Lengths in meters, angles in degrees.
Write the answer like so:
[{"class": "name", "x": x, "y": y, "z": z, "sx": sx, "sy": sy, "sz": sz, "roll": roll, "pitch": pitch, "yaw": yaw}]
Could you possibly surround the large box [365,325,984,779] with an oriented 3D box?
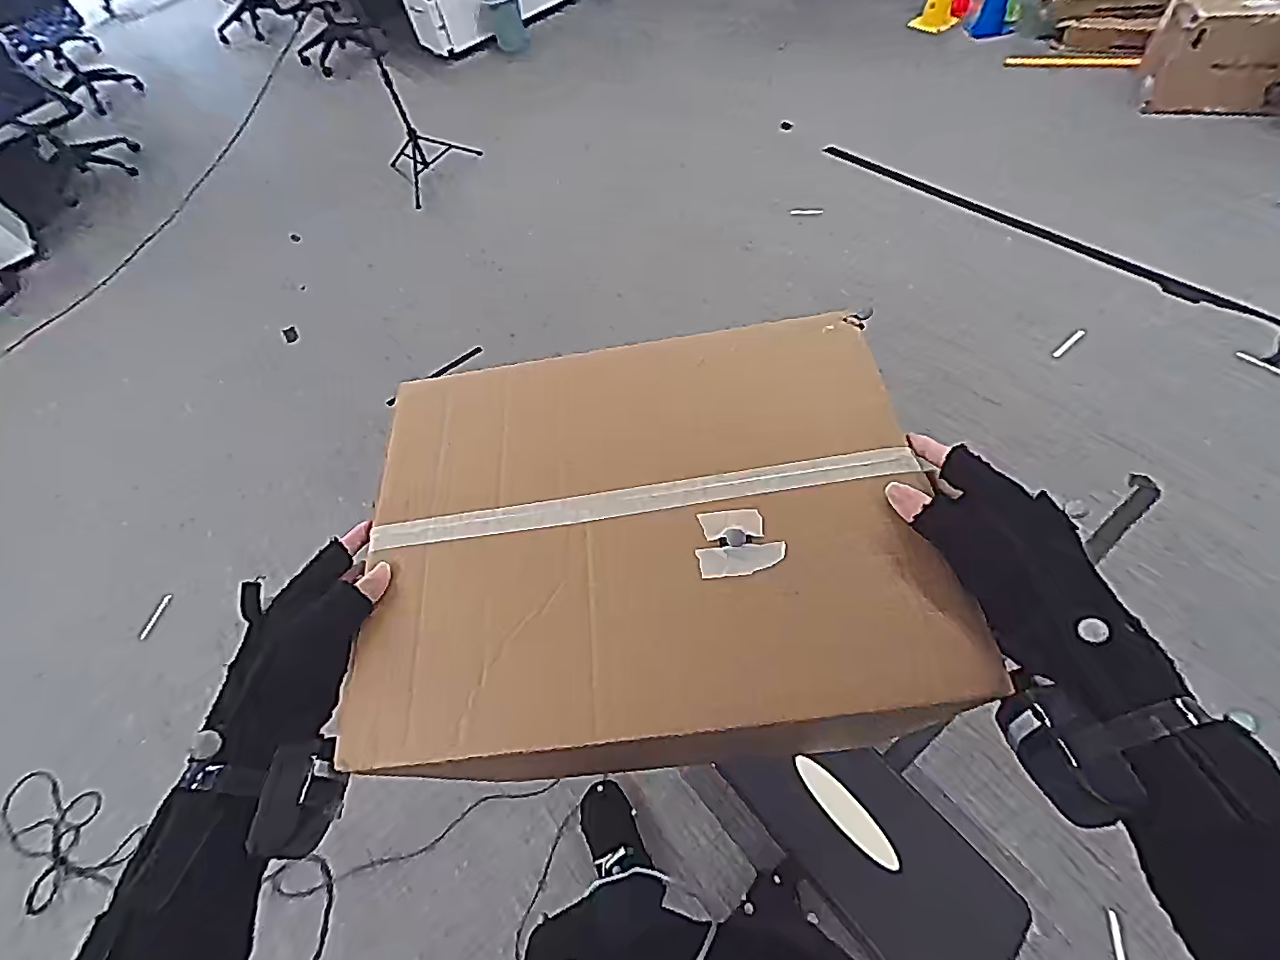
[{"class": "large box", "x": 0.018, "y": 0.096, "z": 0.541, "sx": 0.408, "sy": 0.320, "sz": 0.320, "roll": -8, "pitch": 60, "yaw": 3}]
